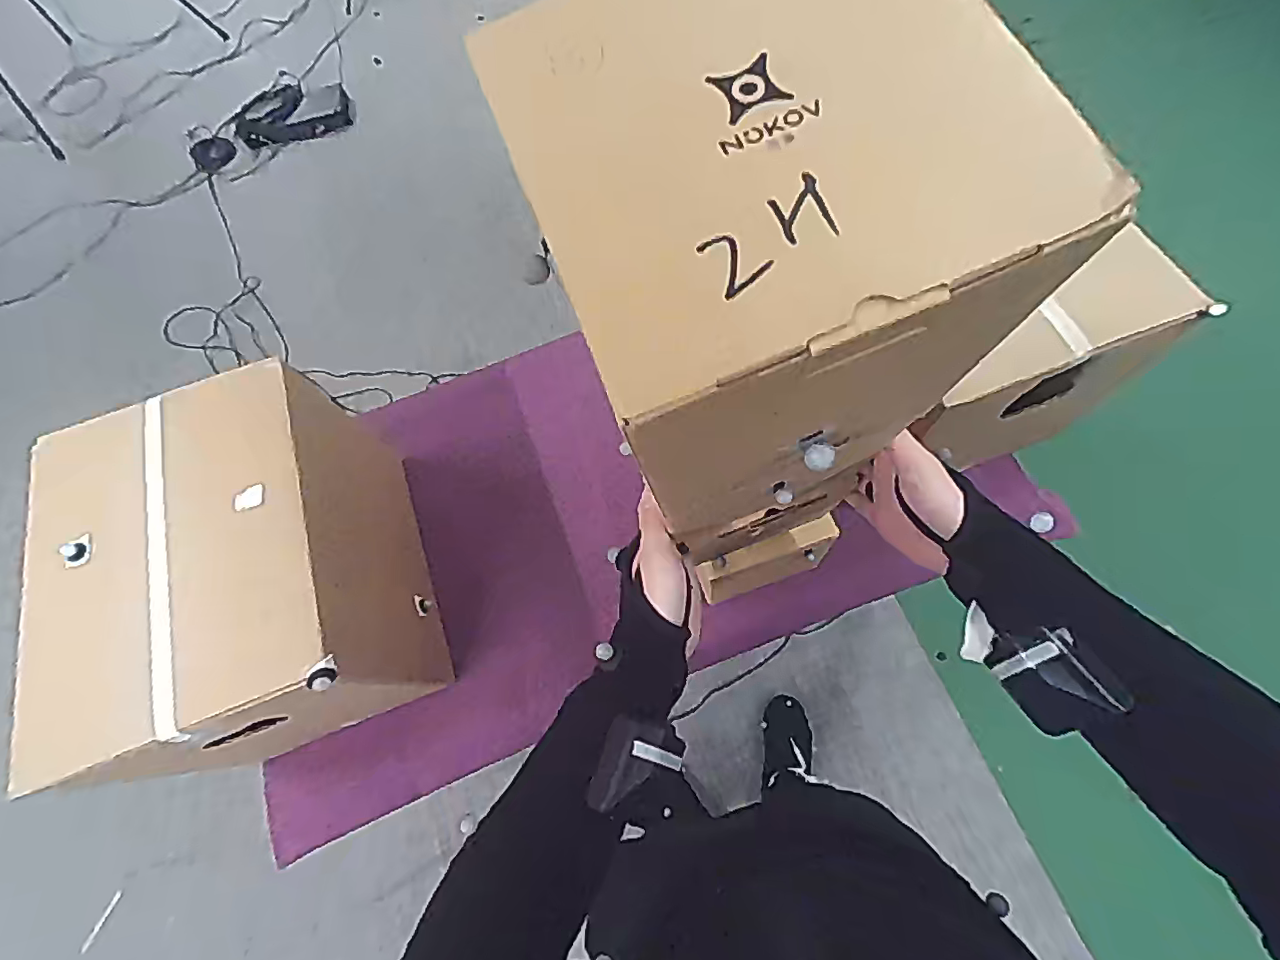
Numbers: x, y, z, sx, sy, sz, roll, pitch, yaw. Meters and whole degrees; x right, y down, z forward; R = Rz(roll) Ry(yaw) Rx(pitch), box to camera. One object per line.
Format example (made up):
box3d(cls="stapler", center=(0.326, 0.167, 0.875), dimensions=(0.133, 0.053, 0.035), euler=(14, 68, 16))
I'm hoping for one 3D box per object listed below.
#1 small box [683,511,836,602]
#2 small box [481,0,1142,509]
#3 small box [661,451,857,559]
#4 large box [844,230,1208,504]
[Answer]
box3d(cls="small box", center=(0.144, 0.058, 0.761), dimensions=(0.179, 0.176, 0.168), euler=(-19, 66, -2))
box3d(cls="small box", center=(0.052, -0.105, 0.259), dimensions=(0.168, 0.176, 0.179), euler=(-22, 75, 2))
box3d(cls="small box", center=(0.100, -0.024, 0.575), dimensions=(0.168, 0.176, 0.179), euler=(-21, 73, 1))
box3d(cls="large box", center=(0.408, -0.235, 0.777), dimensions=(0.320, 0.320, 0.408), euler=(-21, 68, -1))
